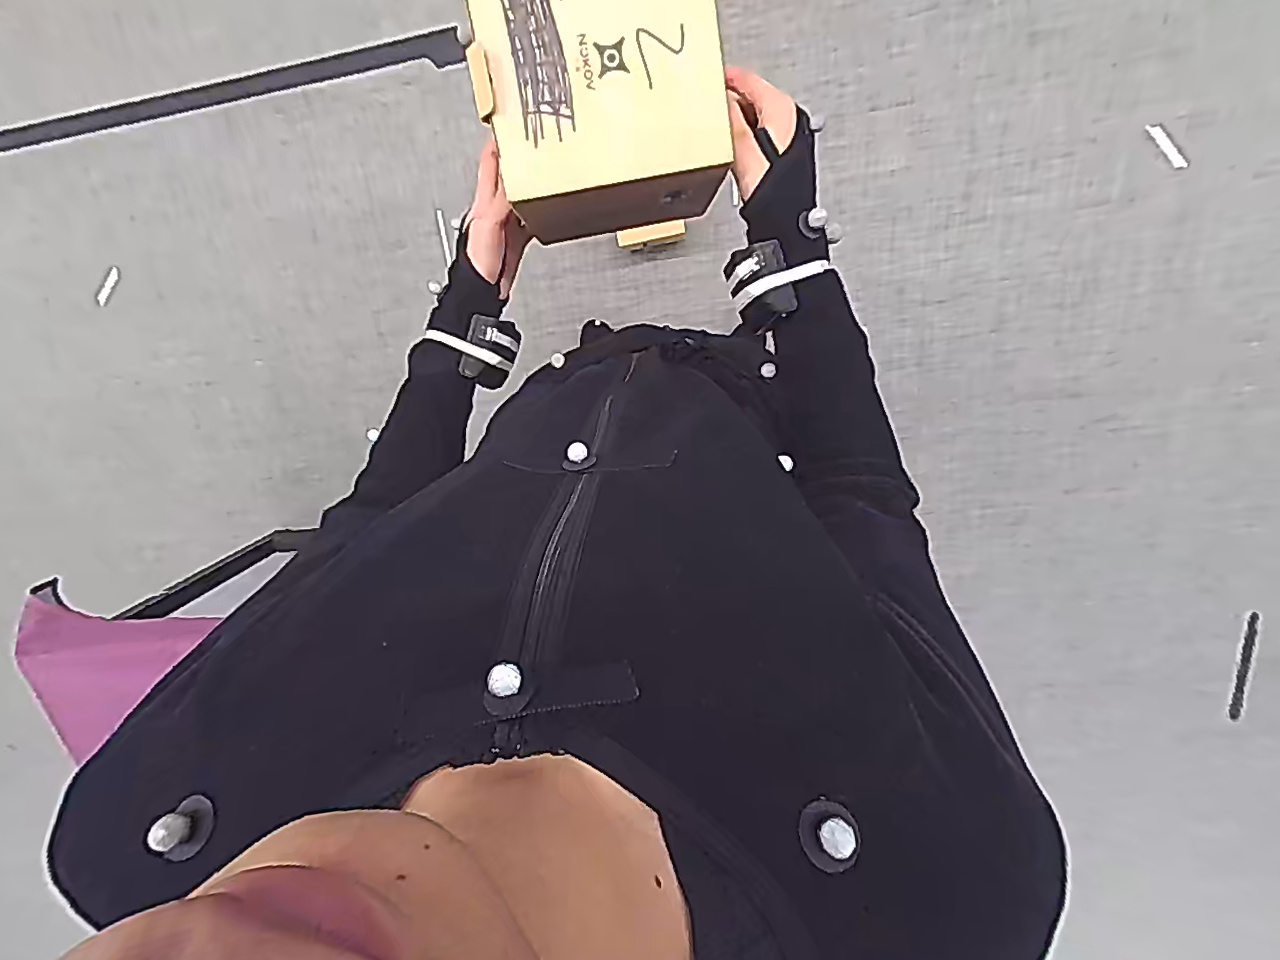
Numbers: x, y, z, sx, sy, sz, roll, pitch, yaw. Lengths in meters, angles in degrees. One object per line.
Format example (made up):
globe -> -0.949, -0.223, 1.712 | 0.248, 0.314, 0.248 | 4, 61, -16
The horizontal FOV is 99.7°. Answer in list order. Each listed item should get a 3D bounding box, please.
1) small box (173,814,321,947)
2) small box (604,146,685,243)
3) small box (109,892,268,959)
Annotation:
small box -> -0.842, 0.870, 1.181 | 0.168, 0.176, 0.179 | -9, 107, 9
small box -> 0.019, -0.696, 1.341 | 0.168, 0.176, 0.179 | -9, 107, 8
small box -> -0.863, 0.923, 1.026 | 0.179, 0.176, 0.168 | -4, 108, 7
